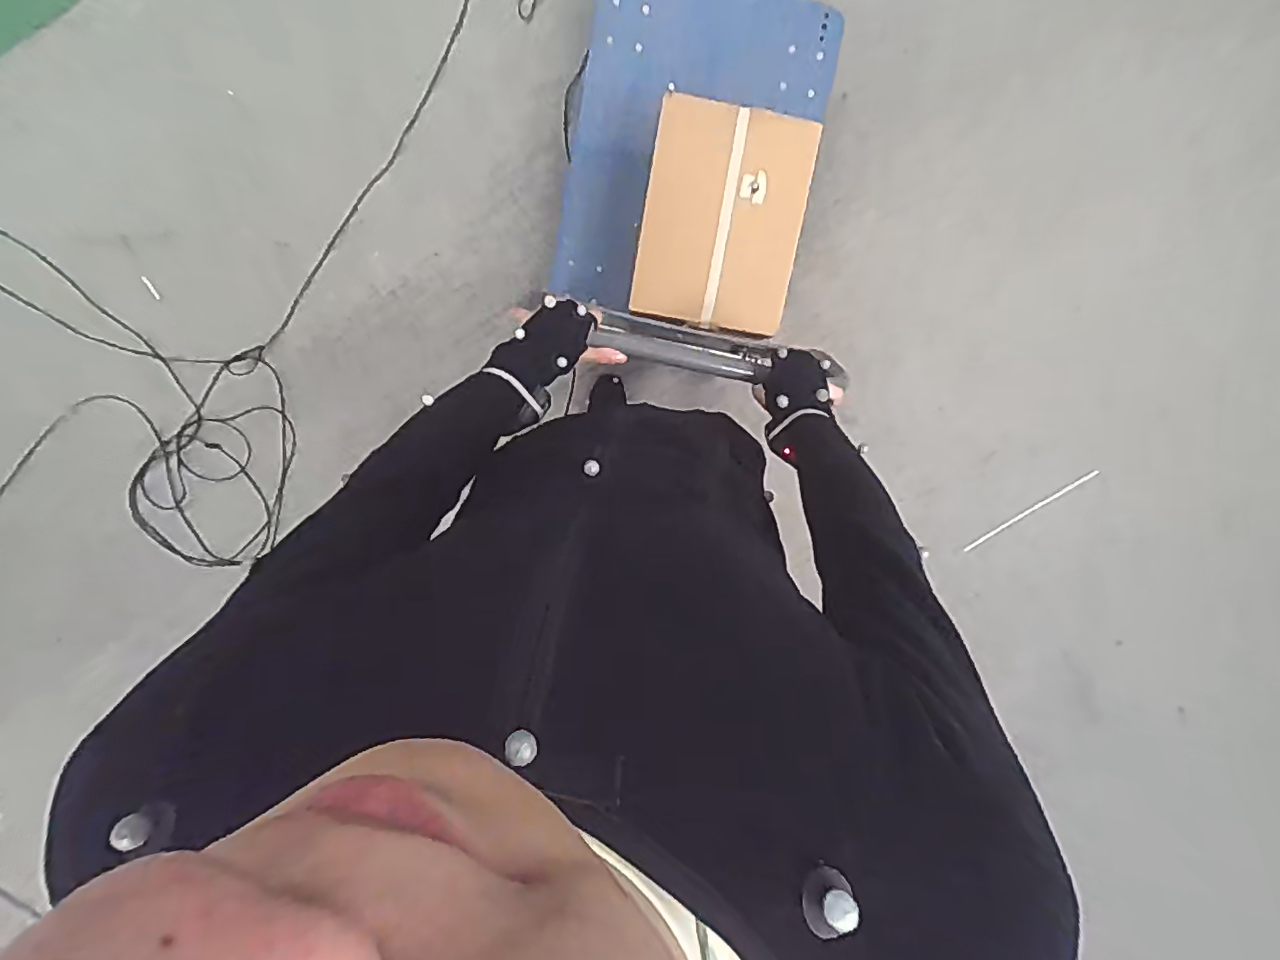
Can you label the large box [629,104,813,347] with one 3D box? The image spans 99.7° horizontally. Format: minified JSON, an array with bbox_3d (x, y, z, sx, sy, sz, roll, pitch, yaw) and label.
[{"bbox_3d":[0.155,-0.535,1.230,0.320,0.320,0.408,10,99,-5],"label":"large box"}]
